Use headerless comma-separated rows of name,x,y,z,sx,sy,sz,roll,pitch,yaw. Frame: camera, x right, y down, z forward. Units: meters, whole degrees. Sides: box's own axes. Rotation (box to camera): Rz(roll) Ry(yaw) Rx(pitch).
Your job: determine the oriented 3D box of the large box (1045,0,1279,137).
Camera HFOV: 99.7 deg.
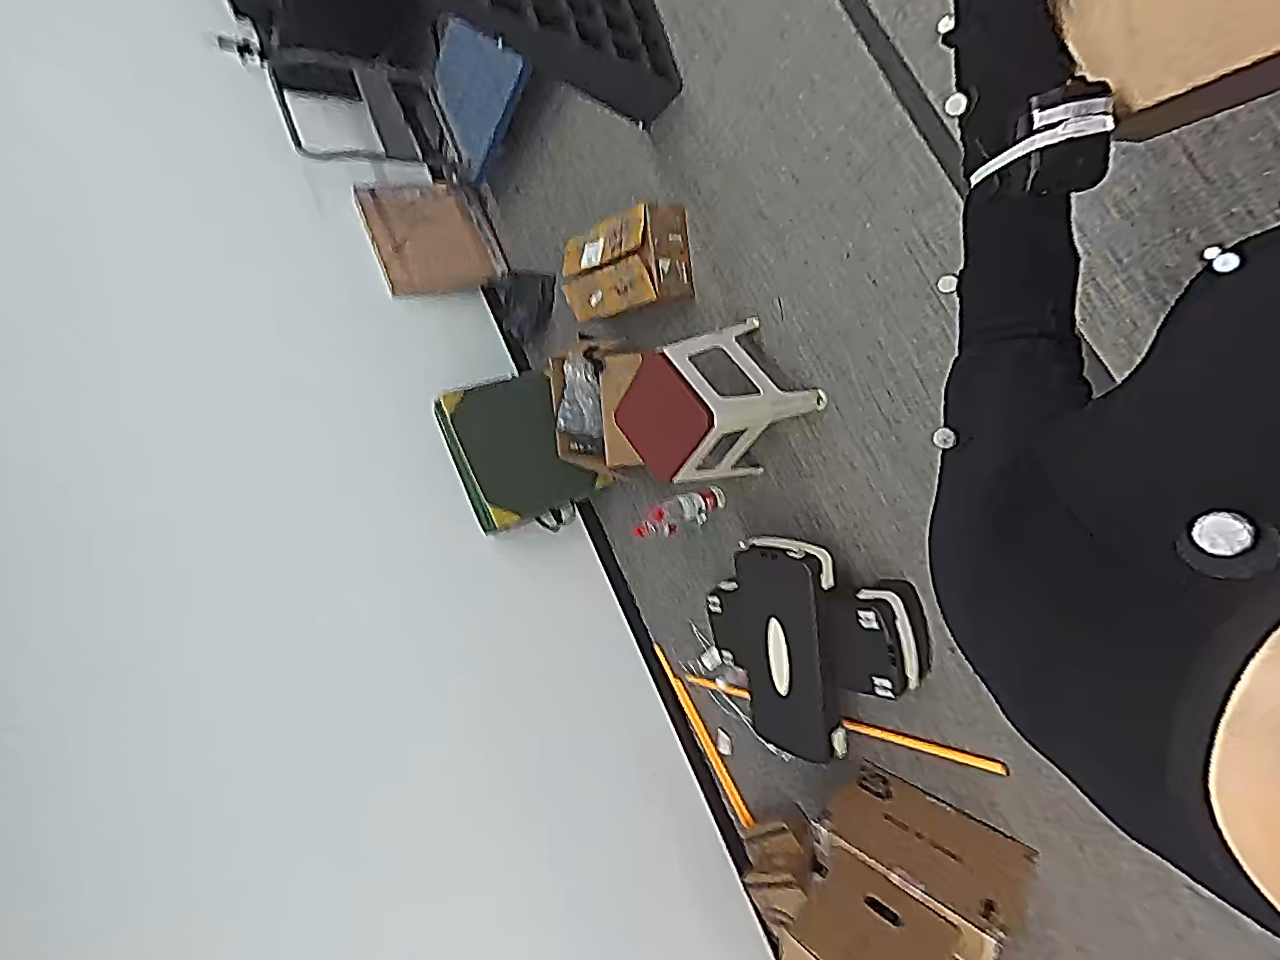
large box,0.510,-0.467,0.319,0.408,0.320,0.320,-1,110,51
